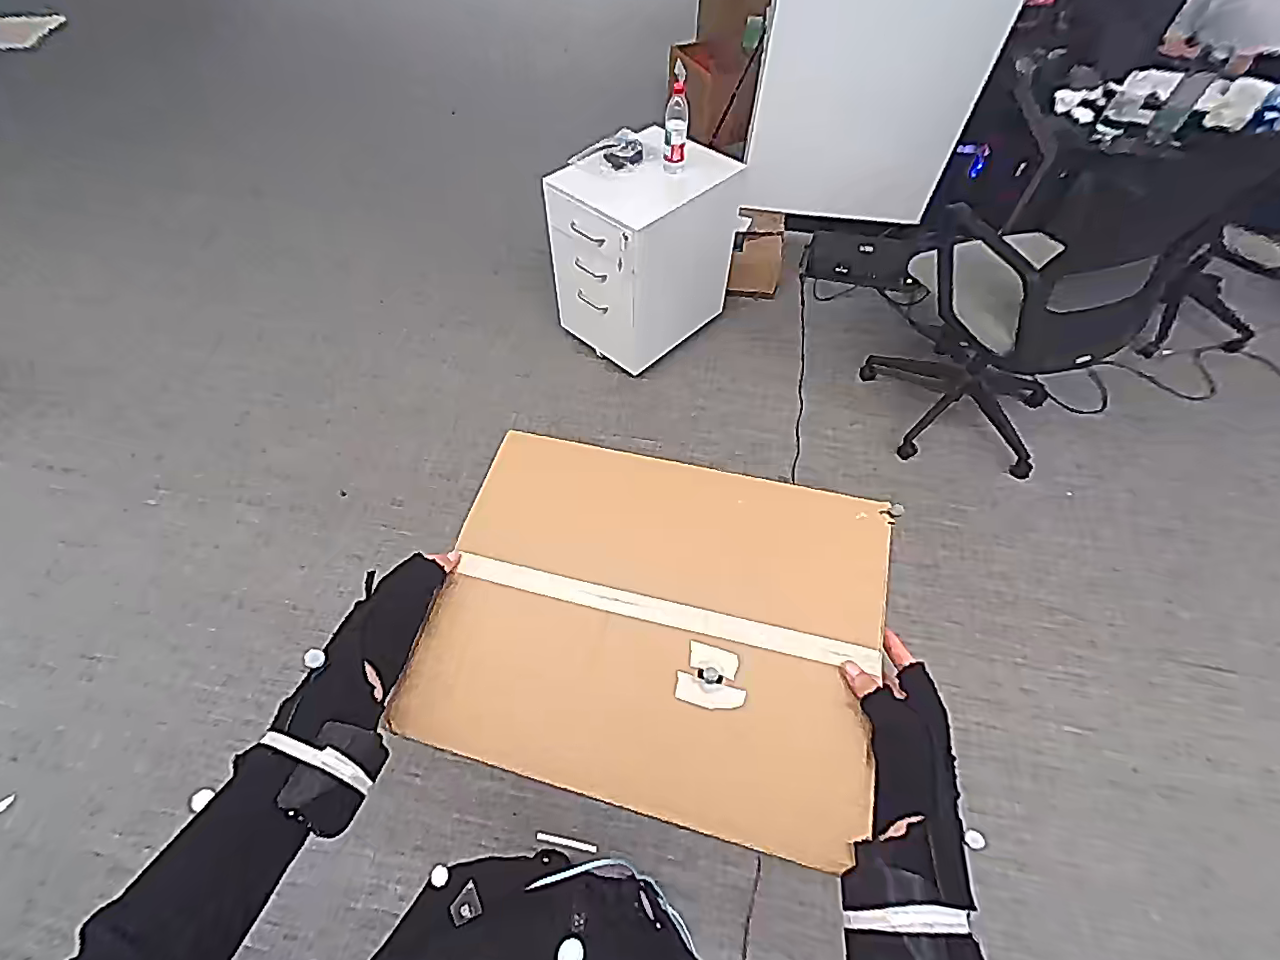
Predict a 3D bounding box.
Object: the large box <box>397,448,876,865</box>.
[{"bbox_3d":[0.018,0.198,0.642,0.408,0.320,0.320,12,64,10],"label":"large box"}]
